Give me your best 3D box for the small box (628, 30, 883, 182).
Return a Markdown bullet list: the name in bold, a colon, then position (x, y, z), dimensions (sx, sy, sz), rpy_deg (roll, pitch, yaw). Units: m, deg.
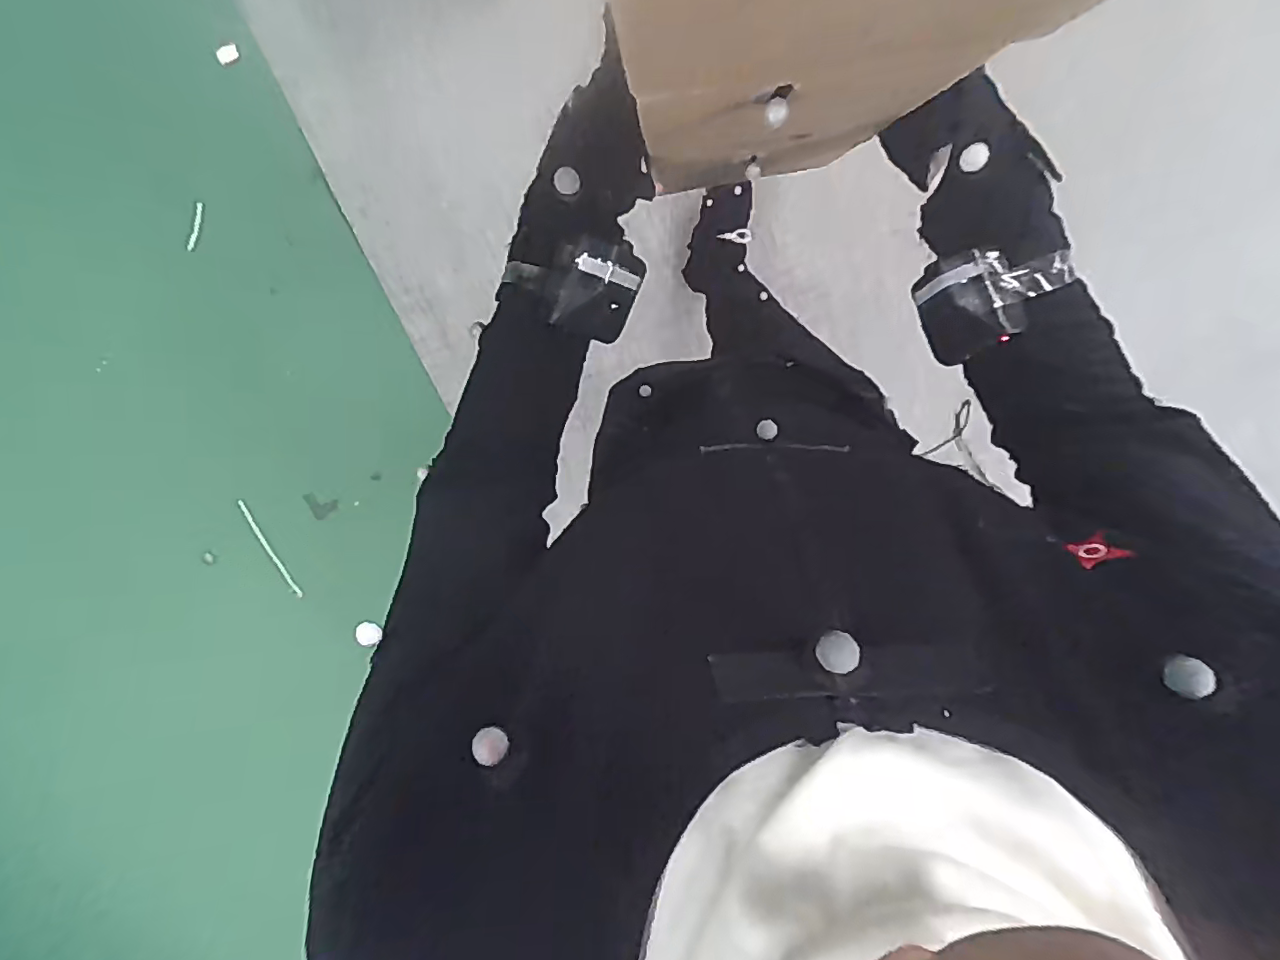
- **small box**: position (0.081, -0.354, 0.434), dimensions (0.179, 0.176, 0.168), rpy_deg (-8, 111, 5)
